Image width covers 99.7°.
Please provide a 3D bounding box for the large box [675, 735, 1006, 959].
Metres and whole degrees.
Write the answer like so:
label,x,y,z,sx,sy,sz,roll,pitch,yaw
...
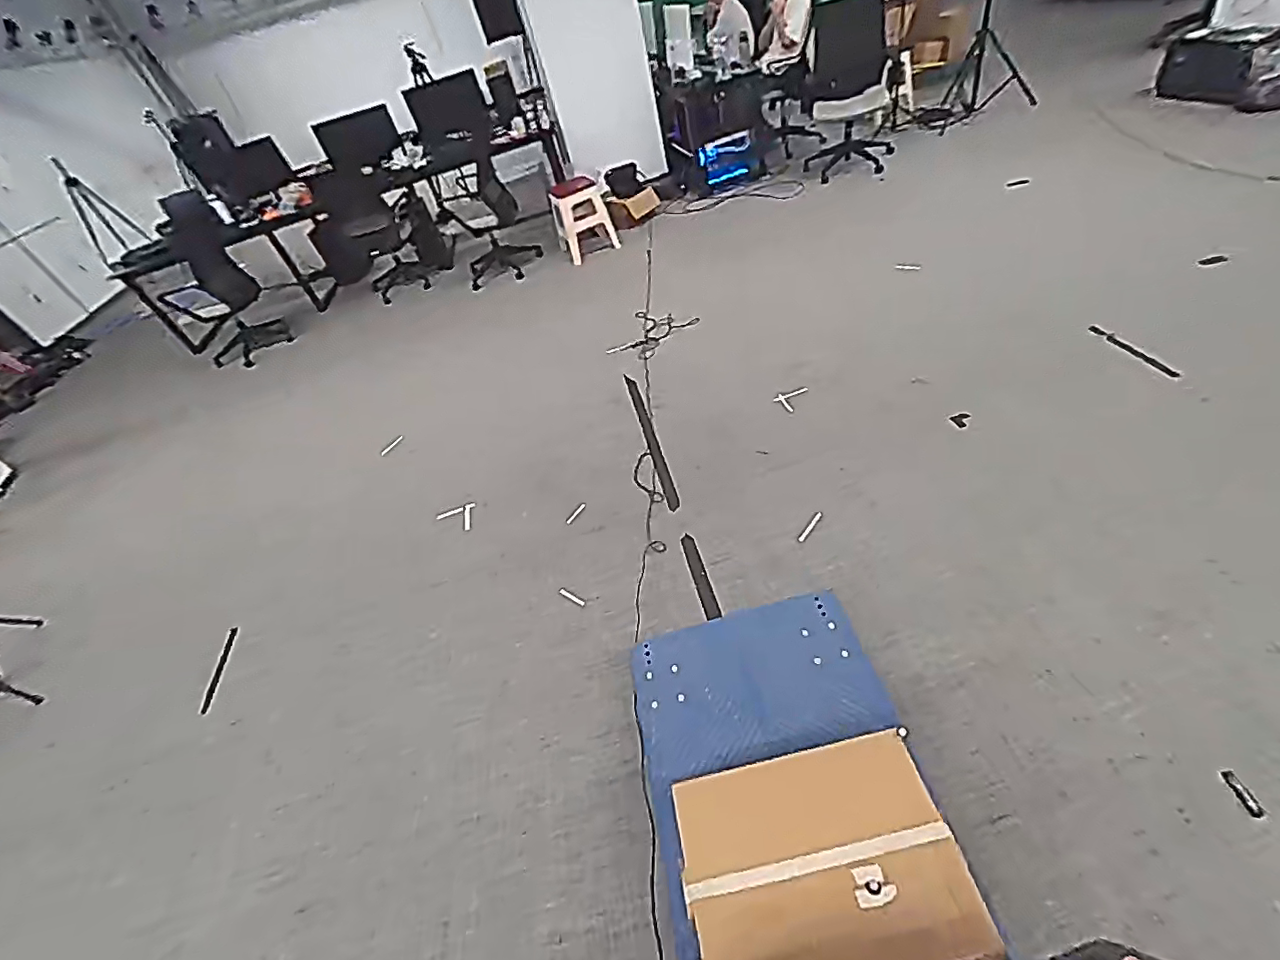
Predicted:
label,x,y,z,sx,sy,sz,roll,pitch,yaw
large box,0.306,0.699,0.928,0.408,0.320,0.320,-16,43,3
